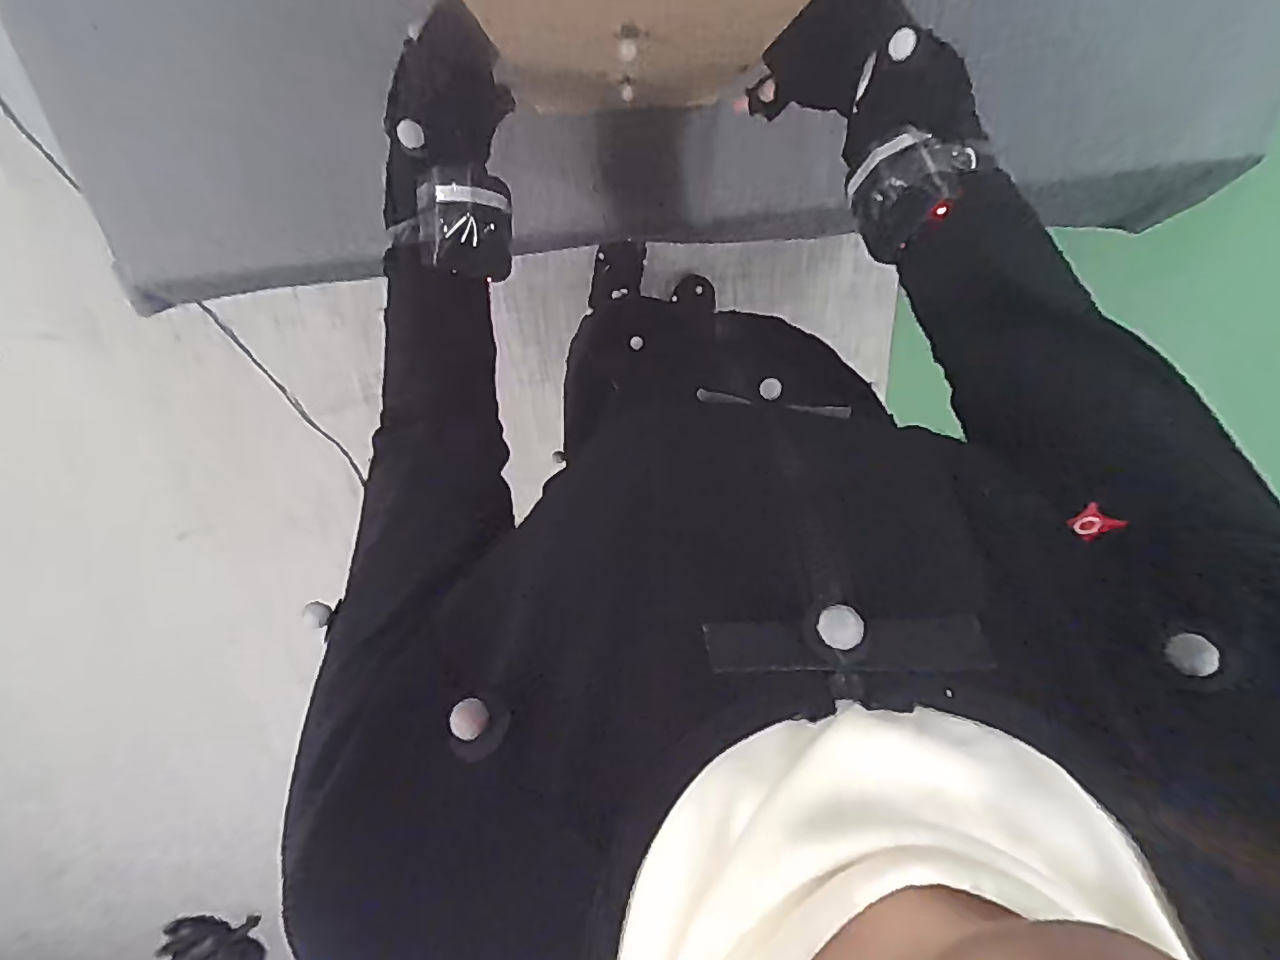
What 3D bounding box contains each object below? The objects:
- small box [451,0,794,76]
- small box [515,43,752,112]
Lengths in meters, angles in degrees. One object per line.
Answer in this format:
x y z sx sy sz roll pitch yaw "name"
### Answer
-0.008 -0.332 0.280 0.179 0.176 0.168 -4 116 2 "small box"
-0.014 -0.407 0.427 0.179 0.176 0.168 -6 116 -1 "small box"
